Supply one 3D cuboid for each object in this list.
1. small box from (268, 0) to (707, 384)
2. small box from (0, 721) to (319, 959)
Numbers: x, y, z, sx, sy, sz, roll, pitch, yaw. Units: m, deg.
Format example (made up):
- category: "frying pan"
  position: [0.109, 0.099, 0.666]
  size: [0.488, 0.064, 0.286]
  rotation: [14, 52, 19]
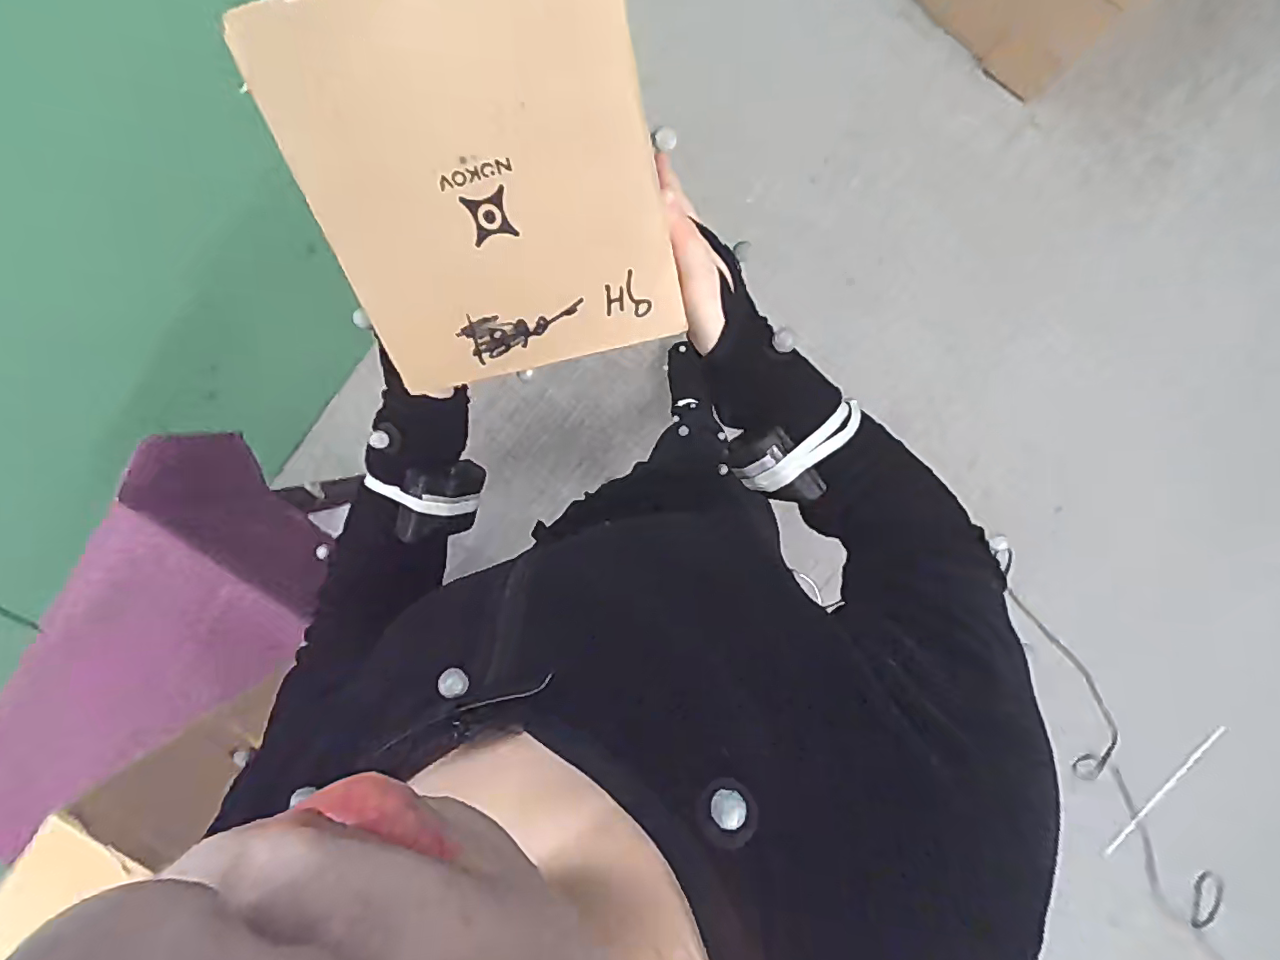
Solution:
- category: "small box"
  position: [-0.060, -0.182, 0.325]
  size: [0.168, 0.176, 0.179]
  rotation: [-10, 122, 7]
- category: "small box"
  position: [-0.486, 0.401, 0.568]
  size: [0.168, 0.176, 0.179]
  rotation: [36, 95, -2]
